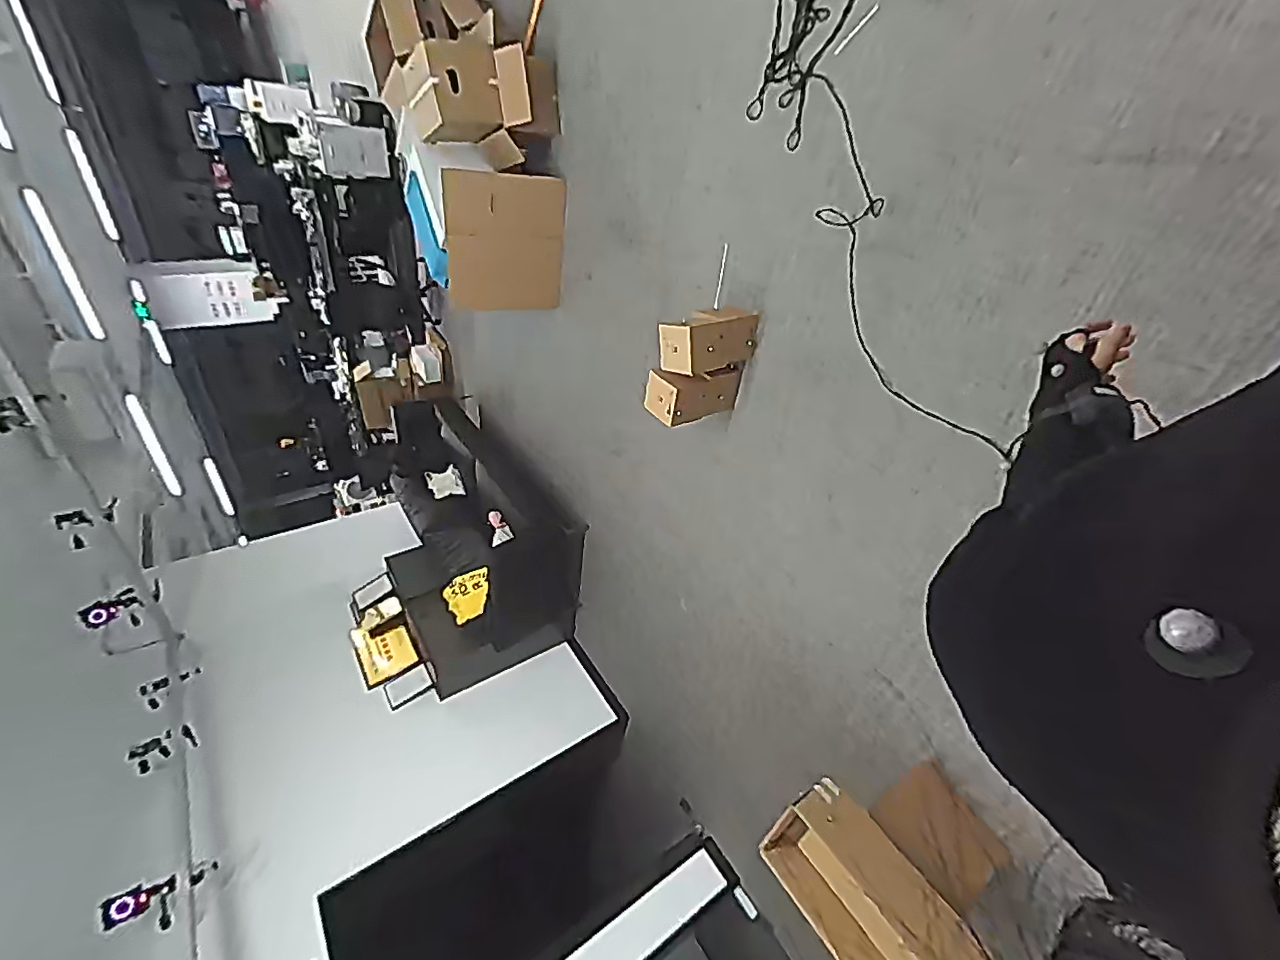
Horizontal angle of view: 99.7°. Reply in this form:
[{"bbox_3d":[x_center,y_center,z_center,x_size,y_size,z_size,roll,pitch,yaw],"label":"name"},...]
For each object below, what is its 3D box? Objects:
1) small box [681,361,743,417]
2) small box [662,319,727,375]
[{"bbox_3d":[0.290,-0.380,2.165,0.168,0.176,0.179,44,140,39],"label":"small box"},{"bbox_3d":[0.199,-0.483,1.938,0.179,0.176,0.168,26,127,51],"label":"small box"}]
